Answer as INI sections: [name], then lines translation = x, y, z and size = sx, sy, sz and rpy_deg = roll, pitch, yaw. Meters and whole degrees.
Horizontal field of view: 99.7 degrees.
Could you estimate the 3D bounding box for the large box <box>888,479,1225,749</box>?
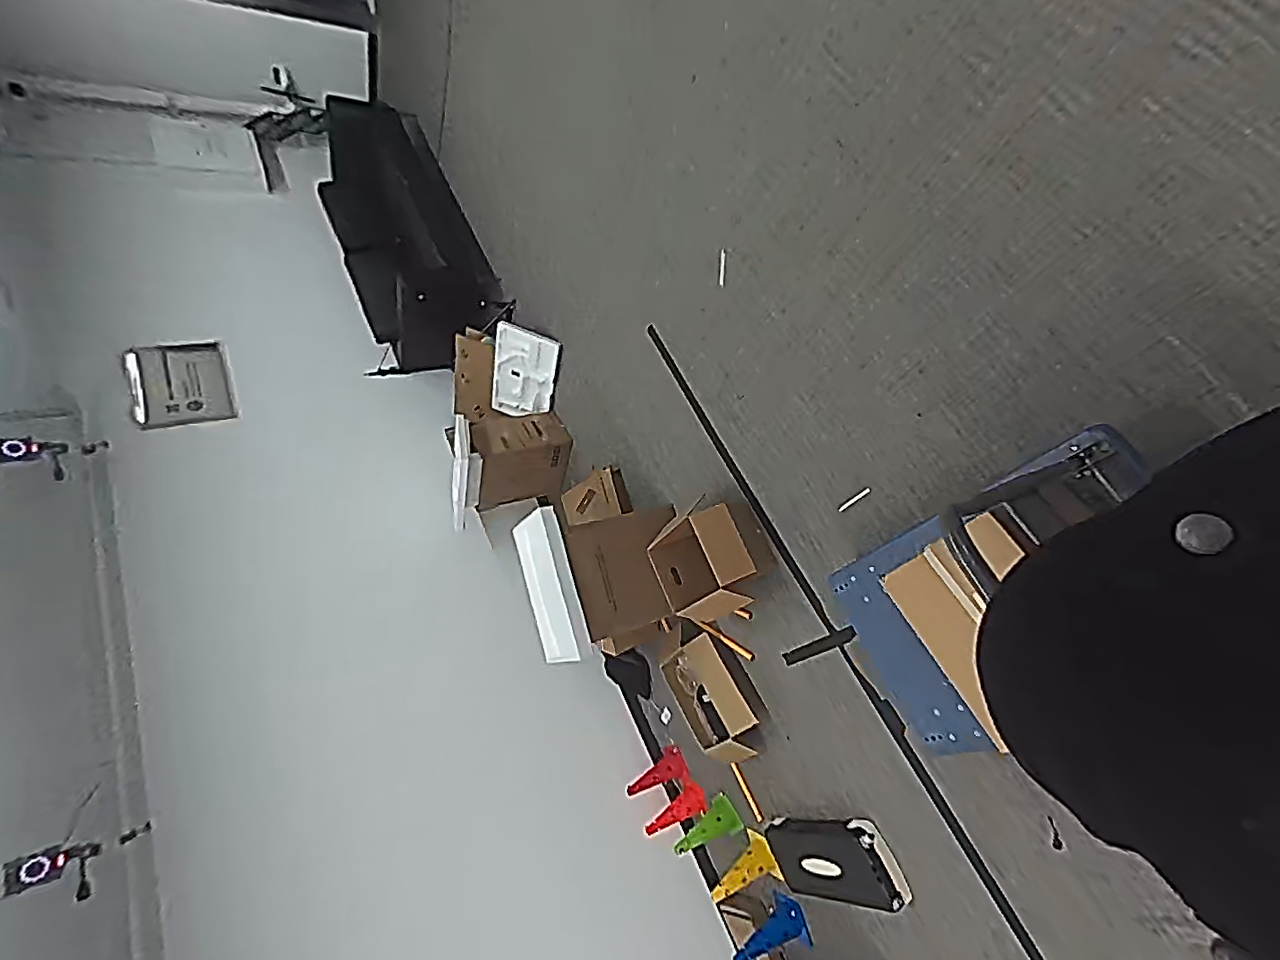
[large box]
translation = 0.826, 0.264, 1.114
size = 0.408, 0.320, 0.320
rpy_deg = 61, 145, 24
